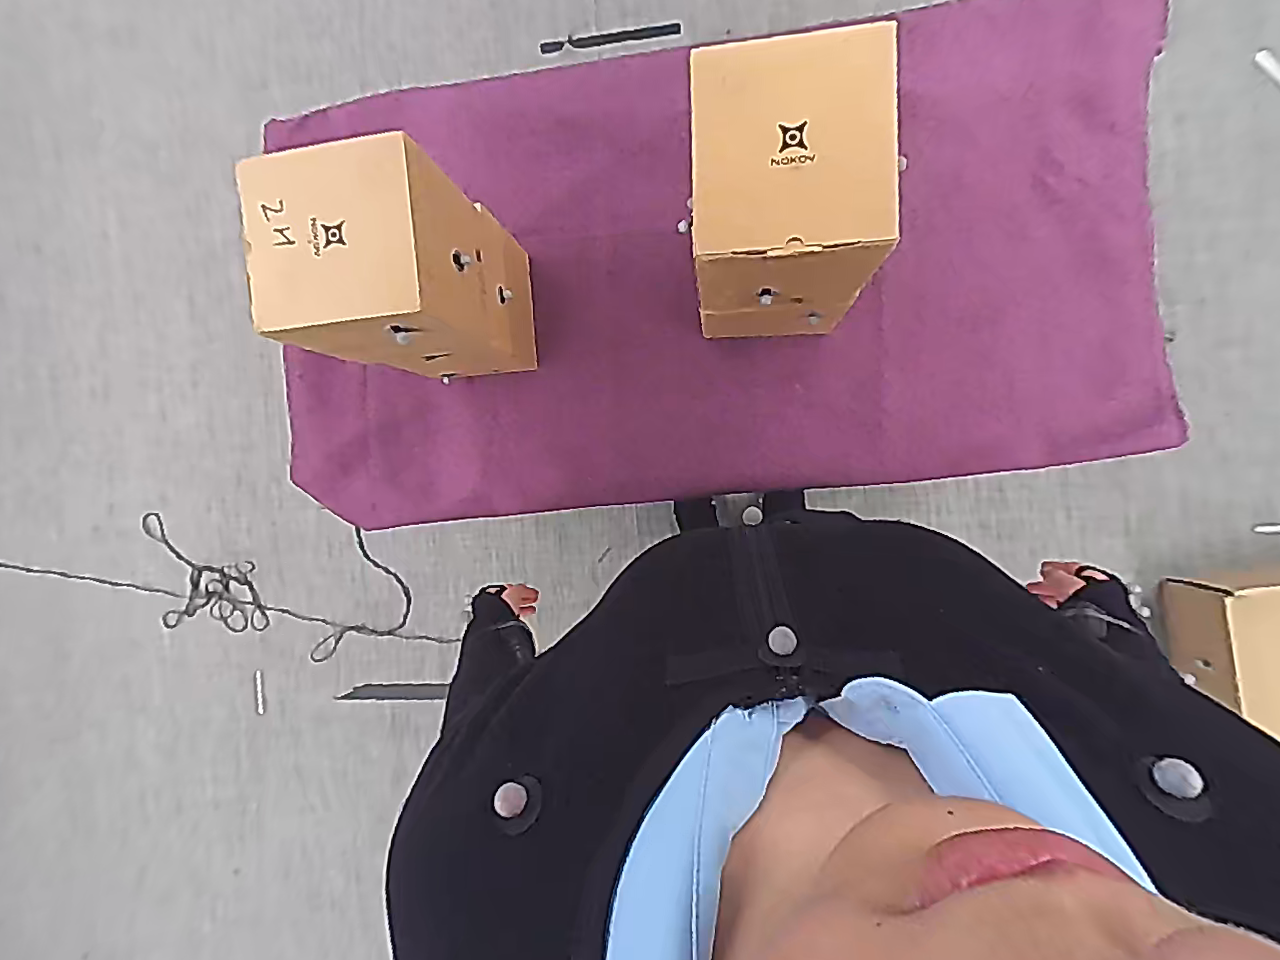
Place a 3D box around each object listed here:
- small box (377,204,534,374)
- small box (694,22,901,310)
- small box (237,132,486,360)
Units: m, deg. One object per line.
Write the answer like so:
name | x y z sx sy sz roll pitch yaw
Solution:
small box | -0.252 -0.245 0.742 0.168 0.176 0.179 -4 91 8
small box | 0.136 -0.279 0.521 0.168 0.176 0.179 -2 92 8
small box | -0.277 -0.231 0.580 0.179 0.176 0.168 -5 91 8
